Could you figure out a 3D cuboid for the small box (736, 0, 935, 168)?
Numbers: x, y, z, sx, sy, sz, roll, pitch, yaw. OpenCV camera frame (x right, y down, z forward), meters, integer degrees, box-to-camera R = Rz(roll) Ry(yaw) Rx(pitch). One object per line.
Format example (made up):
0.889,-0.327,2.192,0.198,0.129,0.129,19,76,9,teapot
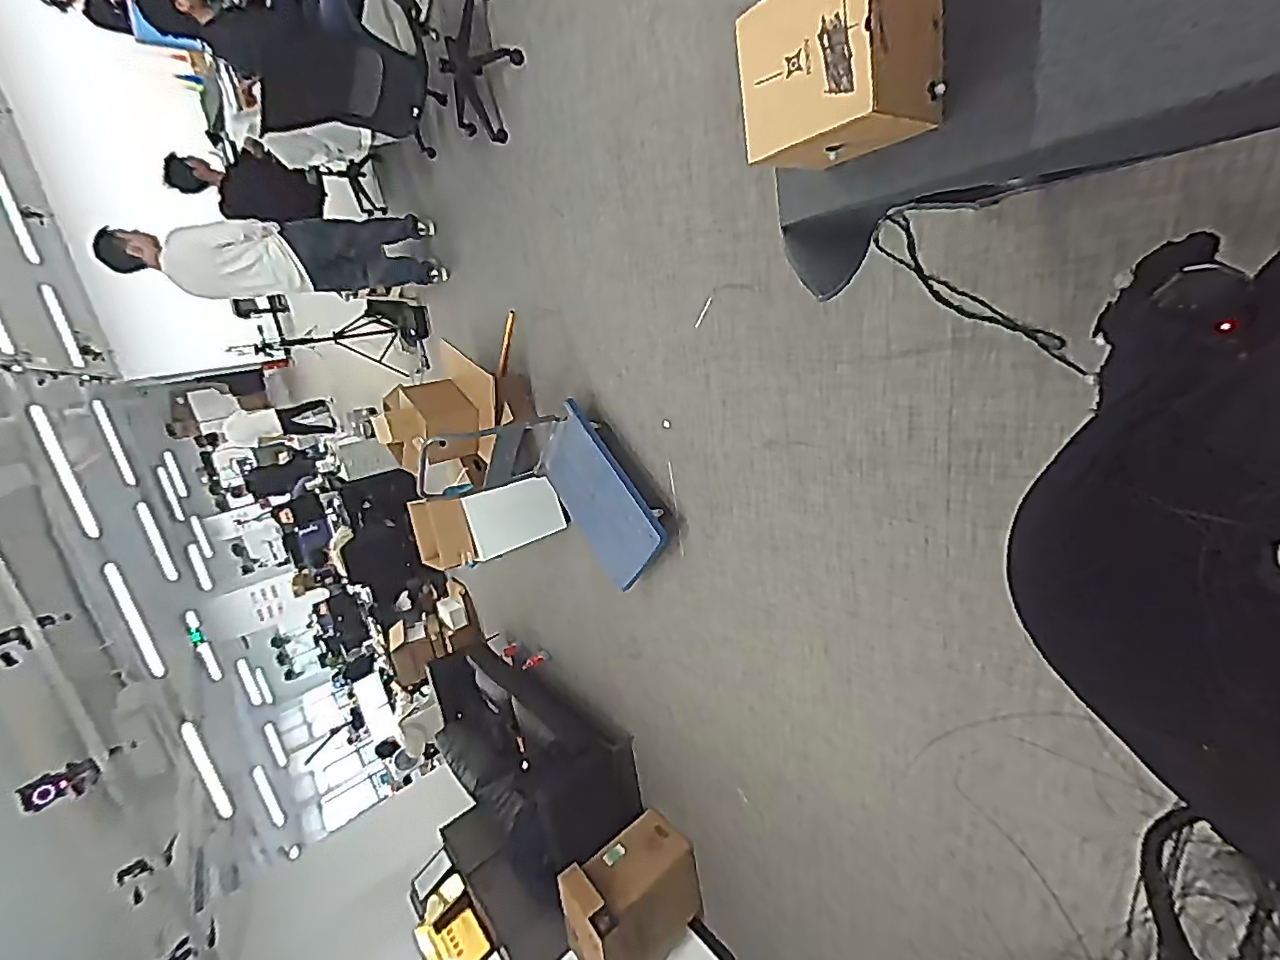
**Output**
0.246,-0.505,0.670,0.179,0.176,0.168,10,115,50,small box
